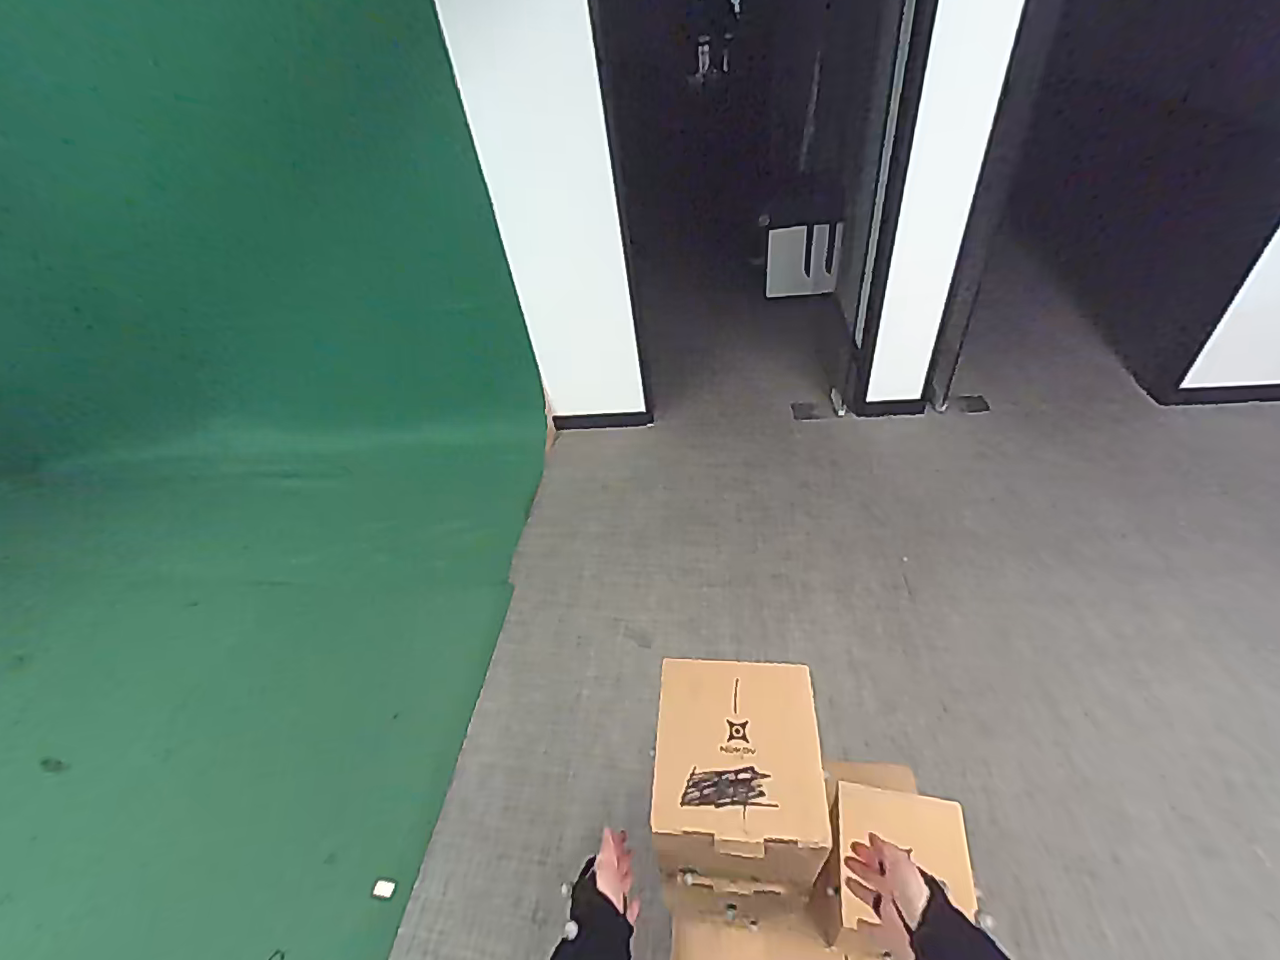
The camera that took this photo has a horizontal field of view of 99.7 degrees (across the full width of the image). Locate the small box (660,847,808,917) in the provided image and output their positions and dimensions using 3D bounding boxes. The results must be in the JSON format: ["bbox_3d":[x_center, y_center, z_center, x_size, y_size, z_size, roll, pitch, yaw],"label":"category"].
[{"bbox_3d":[0.119,0.447,0.709,0.168,0.176,0.179,0,44,7],"label":"small box"}]

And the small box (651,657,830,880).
[{"bbox_3d":[0.107,0.321,0.604,0.168,0.176,0.179,0,42,7],"label":"small box"}]

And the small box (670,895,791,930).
[{"bbox_3d":[0.140,0.560,0.827,0.168,0.176,0.179,1,43,9],"label":"small box"}]

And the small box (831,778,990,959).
[{"bbox_3d":[0.369,0.564,0.775,0.168,0.176,0.179,2,43,15],"label":"small box"}]
